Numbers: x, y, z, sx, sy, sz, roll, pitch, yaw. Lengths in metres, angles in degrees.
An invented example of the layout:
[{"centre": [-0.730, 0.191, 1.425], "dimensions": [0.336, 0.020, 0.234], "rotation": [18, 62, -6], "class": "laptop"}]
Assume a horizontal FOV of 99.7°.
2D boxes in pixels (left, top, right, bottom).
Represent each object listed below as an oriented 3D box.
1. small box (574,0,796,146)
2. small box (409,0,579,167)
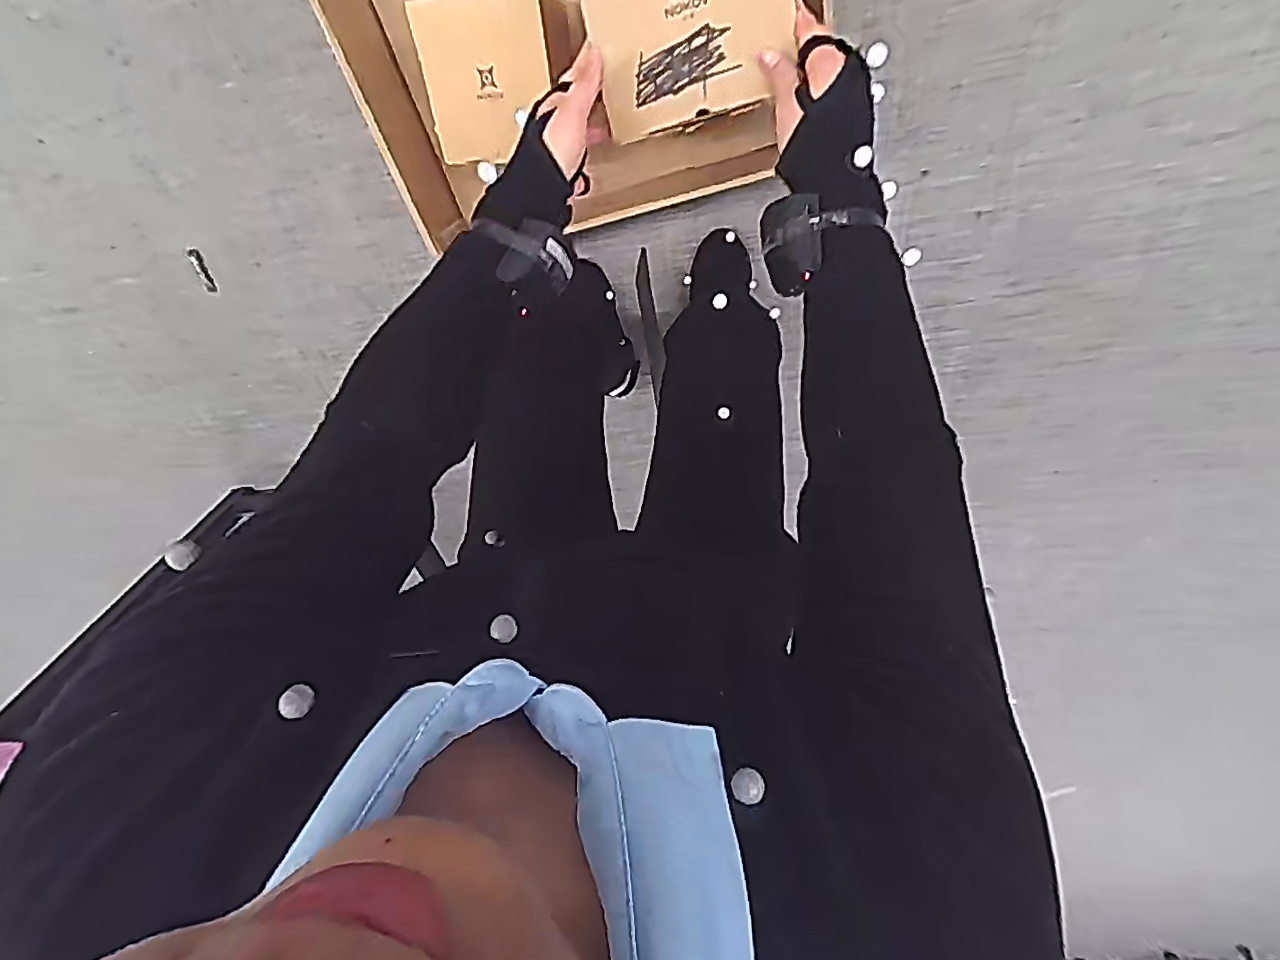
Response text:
[{"centre": [0.045, -0.418, 0.470], "dimensions": [0.168, 0.176, 0.179], "rotation": [-6, 125, 17], "class": "small box"}, {"centre": [-0.186, -0.552, 0.752], "dimensions": [0.168, 0.176, 0.179], "rotation": [-1, 128, 6], "class": "small box"}]
